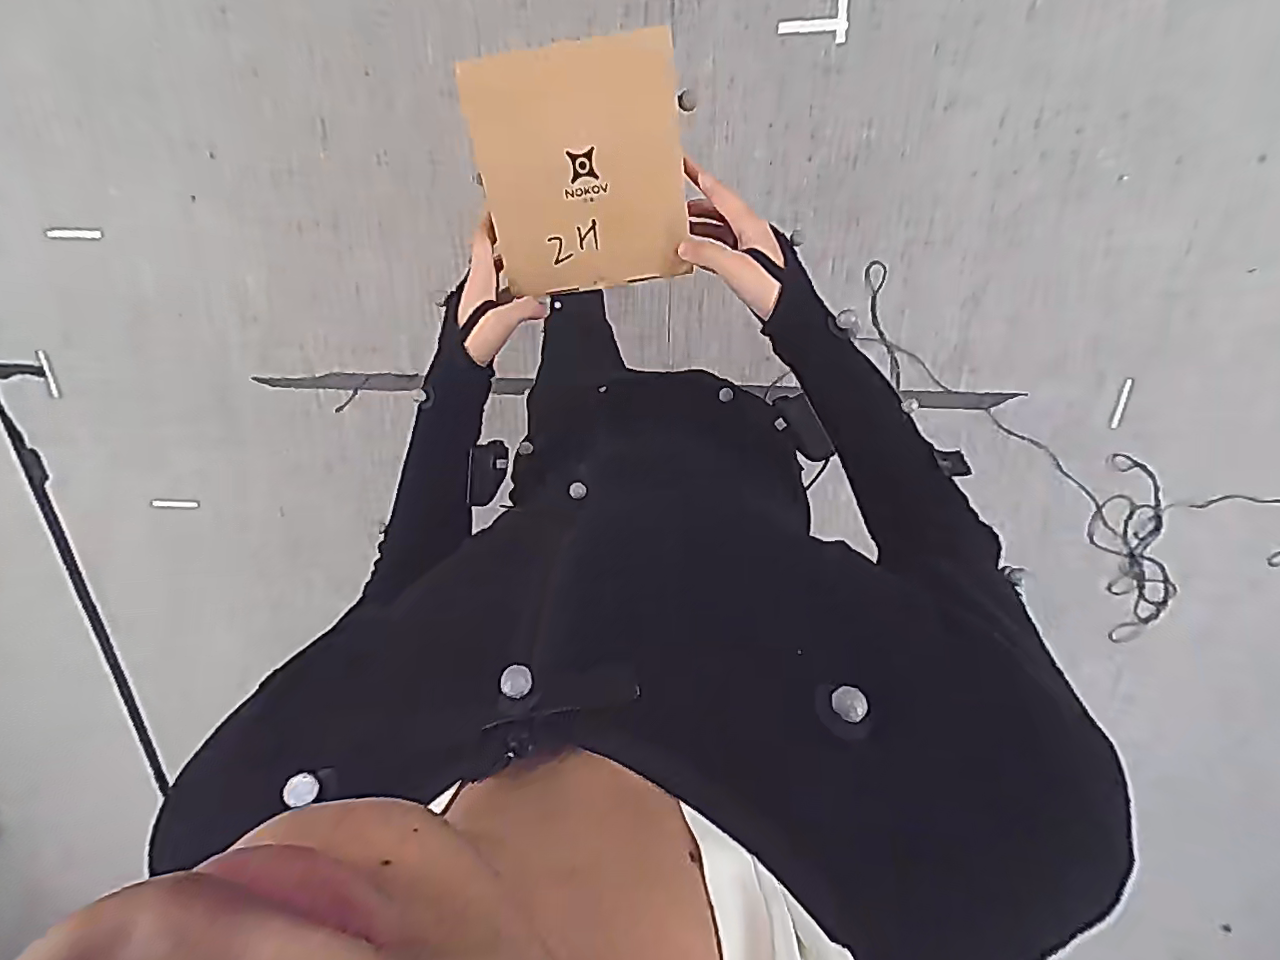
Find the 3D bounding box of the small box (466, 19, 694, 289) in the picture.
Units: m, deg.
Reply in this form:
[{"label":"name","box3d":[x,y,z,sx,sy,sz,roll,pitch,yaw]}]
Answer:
[{"label":"small box","box3d":[-0.043,-0.296,0.513,0.168,0.176,0.179,-7,121,4]}]
